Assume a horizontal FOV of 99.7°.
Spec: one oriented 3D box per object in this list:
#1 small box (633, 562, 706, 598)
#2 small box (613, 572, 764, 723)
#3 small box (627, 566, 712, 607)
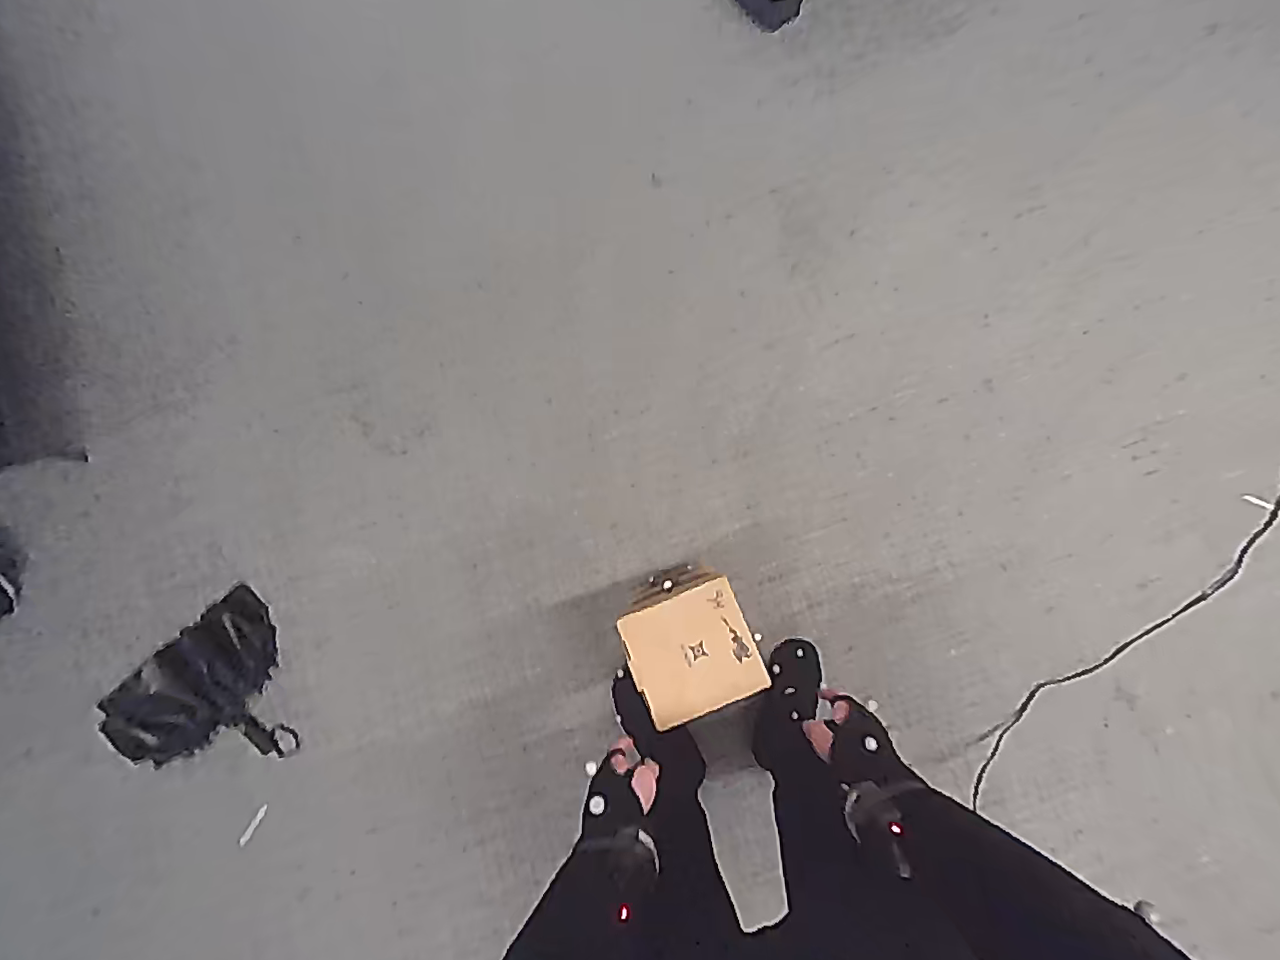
[{"bbox_3d":[0.095,0.288,1.180,0.168,0.176,0.179,-24,83,1],"label":"small box"},{"bbox_3d":[0.076,0.253,0.854,0.179,0.176,0.168,-23,81,2],"label":"small box"},{"bbox_3d":[0.087,0.273,1.016,0.168,0.176,0.179,-25,82,1],"label":"small box"}]
